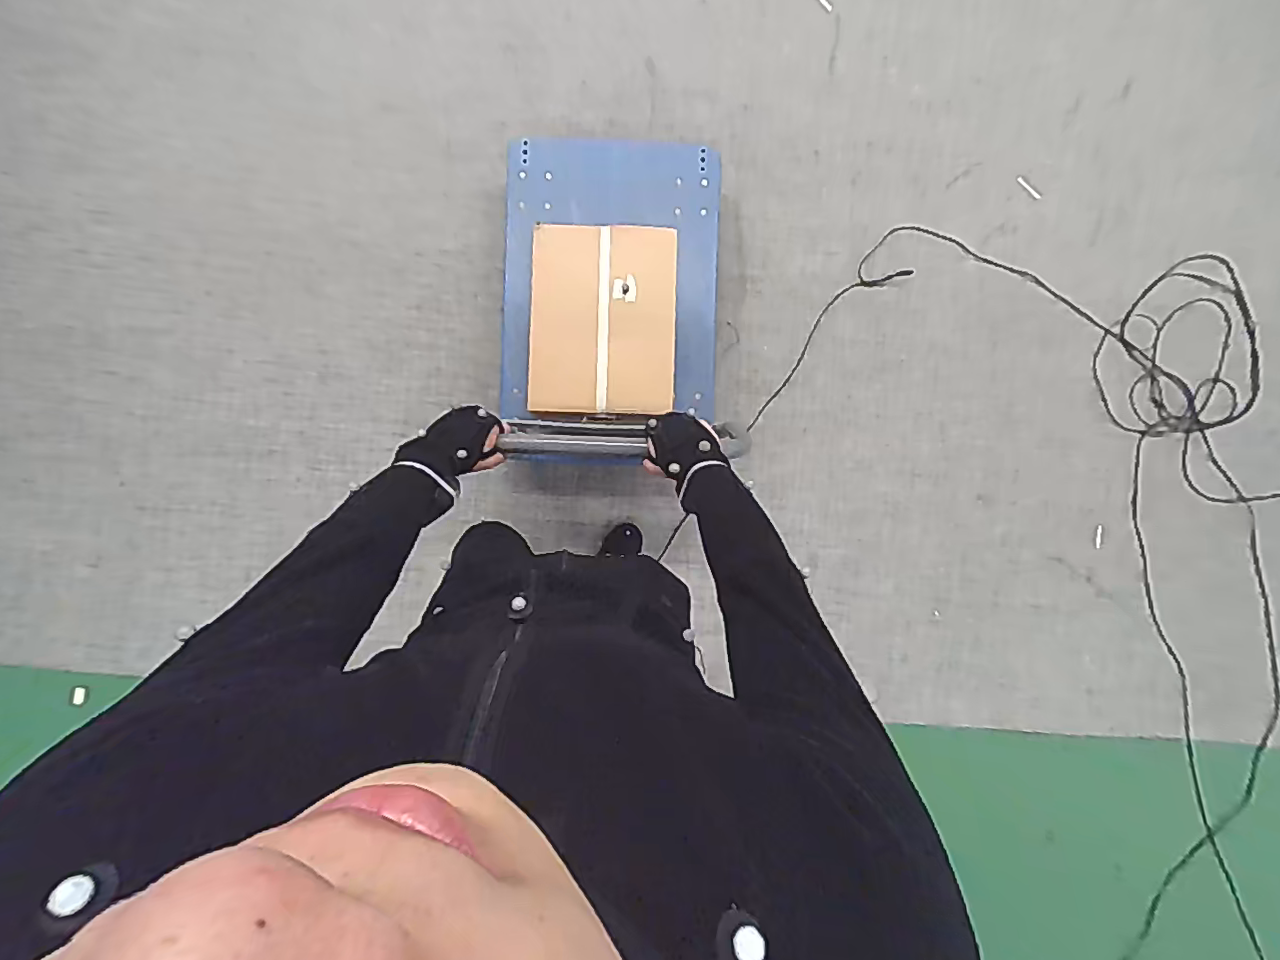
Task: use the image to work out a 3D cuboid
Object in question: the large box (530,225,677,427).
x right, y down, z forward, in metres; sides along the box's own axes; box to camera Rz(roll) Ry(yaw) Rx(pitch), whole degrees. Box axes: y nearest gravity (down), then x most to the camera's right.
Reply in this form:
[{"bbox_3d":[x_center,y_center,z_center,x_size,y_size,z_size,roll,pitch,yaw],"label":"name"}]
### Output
[{"bbox_3d":[-0.078,-0.341,1.302,0.320,0.320,0.408,2,89,-2],"label":"large box"}]
